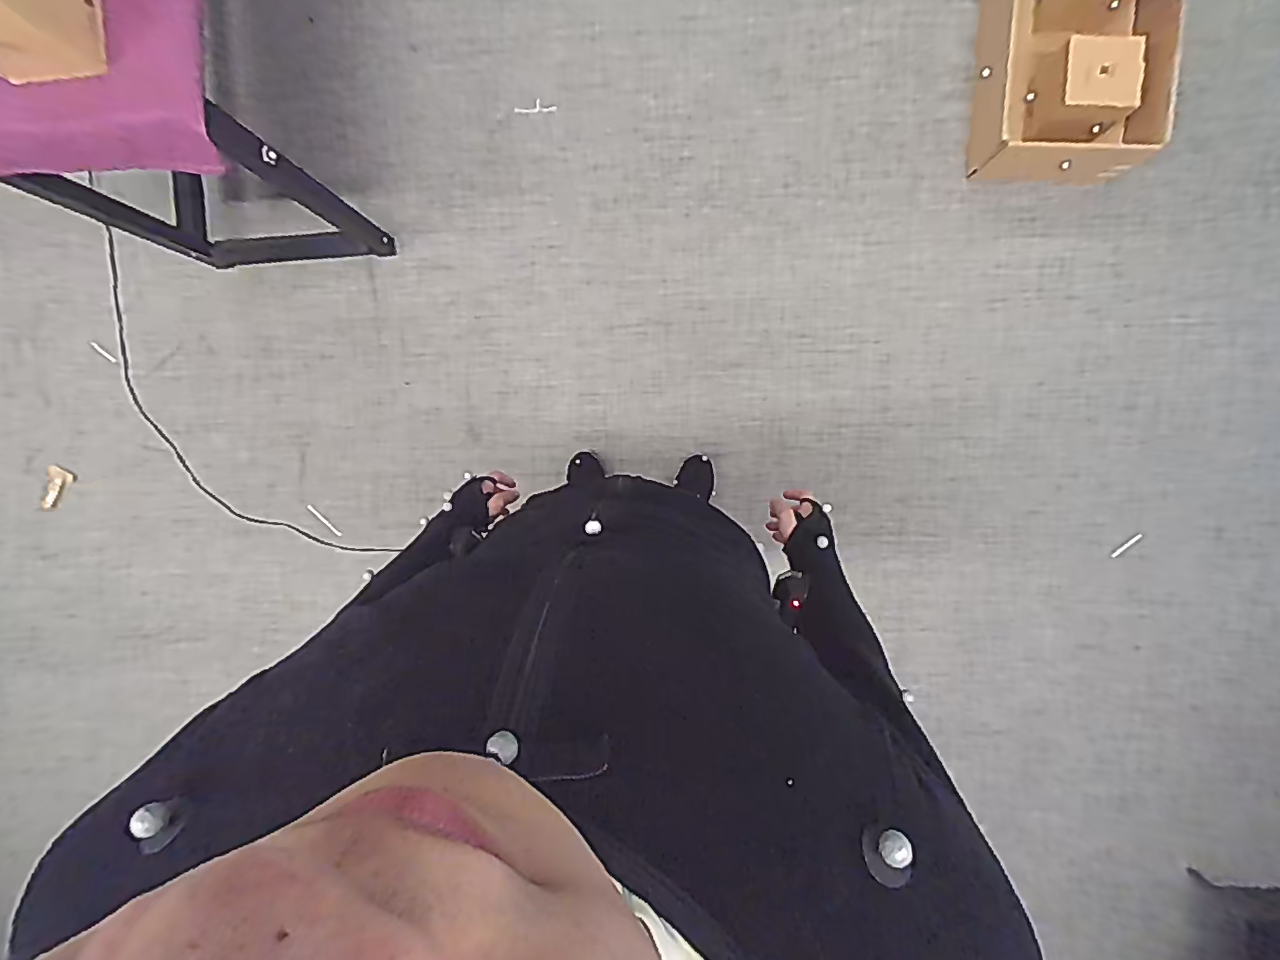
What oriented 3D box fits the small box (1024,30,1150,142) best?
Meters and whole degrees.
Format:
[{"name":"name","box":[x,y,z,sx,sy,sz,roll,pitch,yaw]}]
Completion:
[{"name":"small box","box":[1.117,-0.983,1.362,0.179,0.176,0.168,3,92,4]}]

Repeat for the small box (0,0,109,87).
[{"name":"small box","box":[-0.998,-0.752,0.844,0.179,0.176,0.168,-3,93,5]}]
